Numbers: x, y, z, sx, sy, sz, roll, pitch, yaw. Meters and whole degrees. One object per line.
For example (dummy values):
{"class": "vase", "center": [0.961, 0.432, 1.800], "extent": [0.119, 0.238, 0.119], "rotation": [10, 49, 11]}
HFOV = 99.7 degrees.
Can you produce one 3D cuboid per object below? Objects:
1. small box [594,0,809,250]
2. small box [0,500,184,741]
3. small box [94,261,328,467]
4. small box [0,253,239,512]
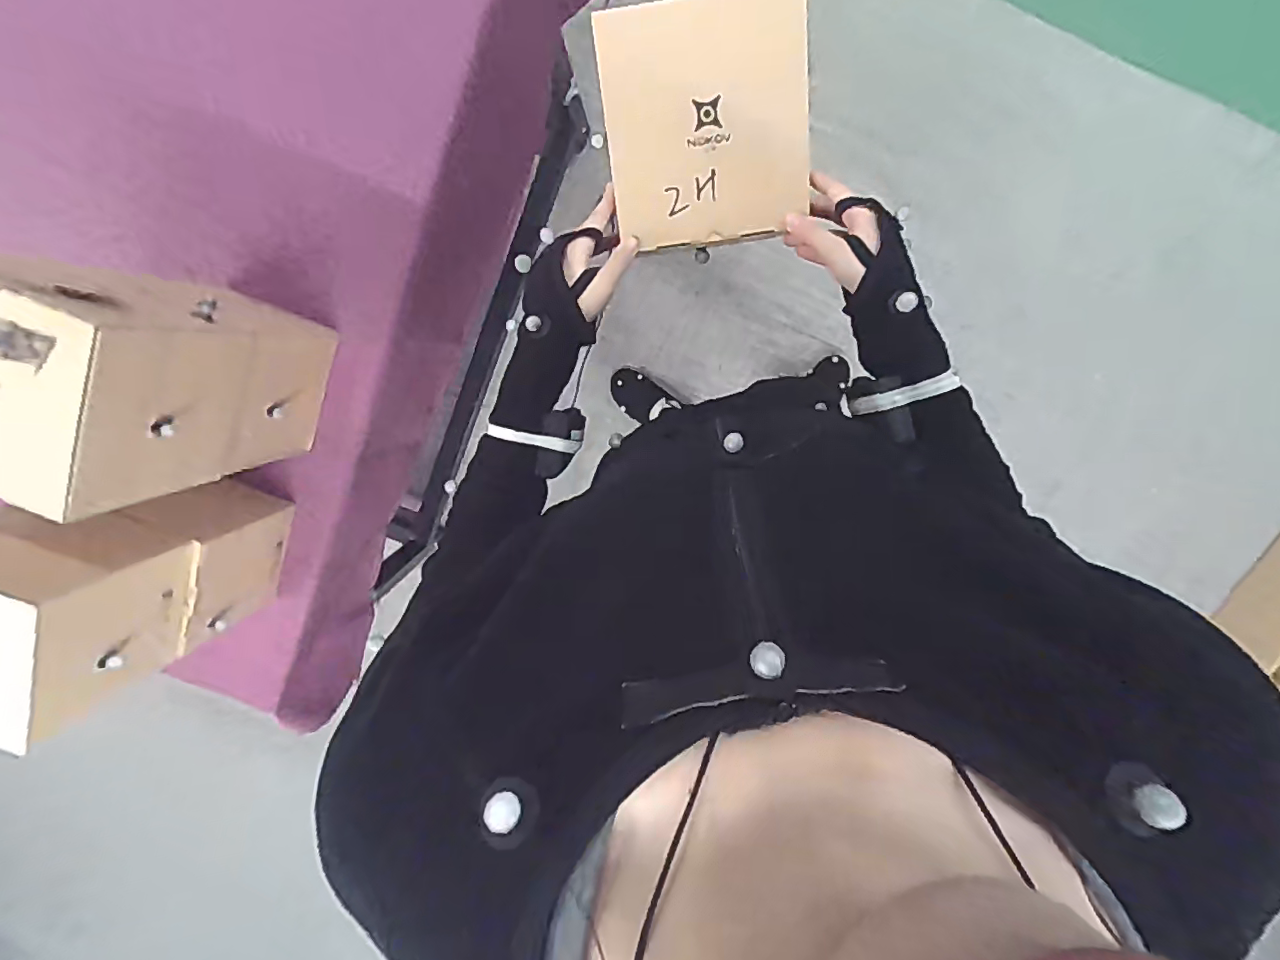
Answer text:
{"class": "small box", "center": [0.054, -0.321, 0.507], "extent": [0.168, 0.176, 0.179], "rotation": [-5, 111, 4]}
{"class": "small box", "center": [-0.635, 0.127, 0.567], "extent": [0.179, 0.176, 0.168], "rotation": [19, 104, -1]}
{"class": "small box", "center": [-0.521, -0.140, 0.664], "extent": [0.168, 0.176, 0.179], "rotation": [22, 104, -3]}
{"class": "small box", "center": [-0.523, -0.100, 0.504], "extent": [0.168, 0.176, 0.179], "rotation": [23, 104, -3]}
